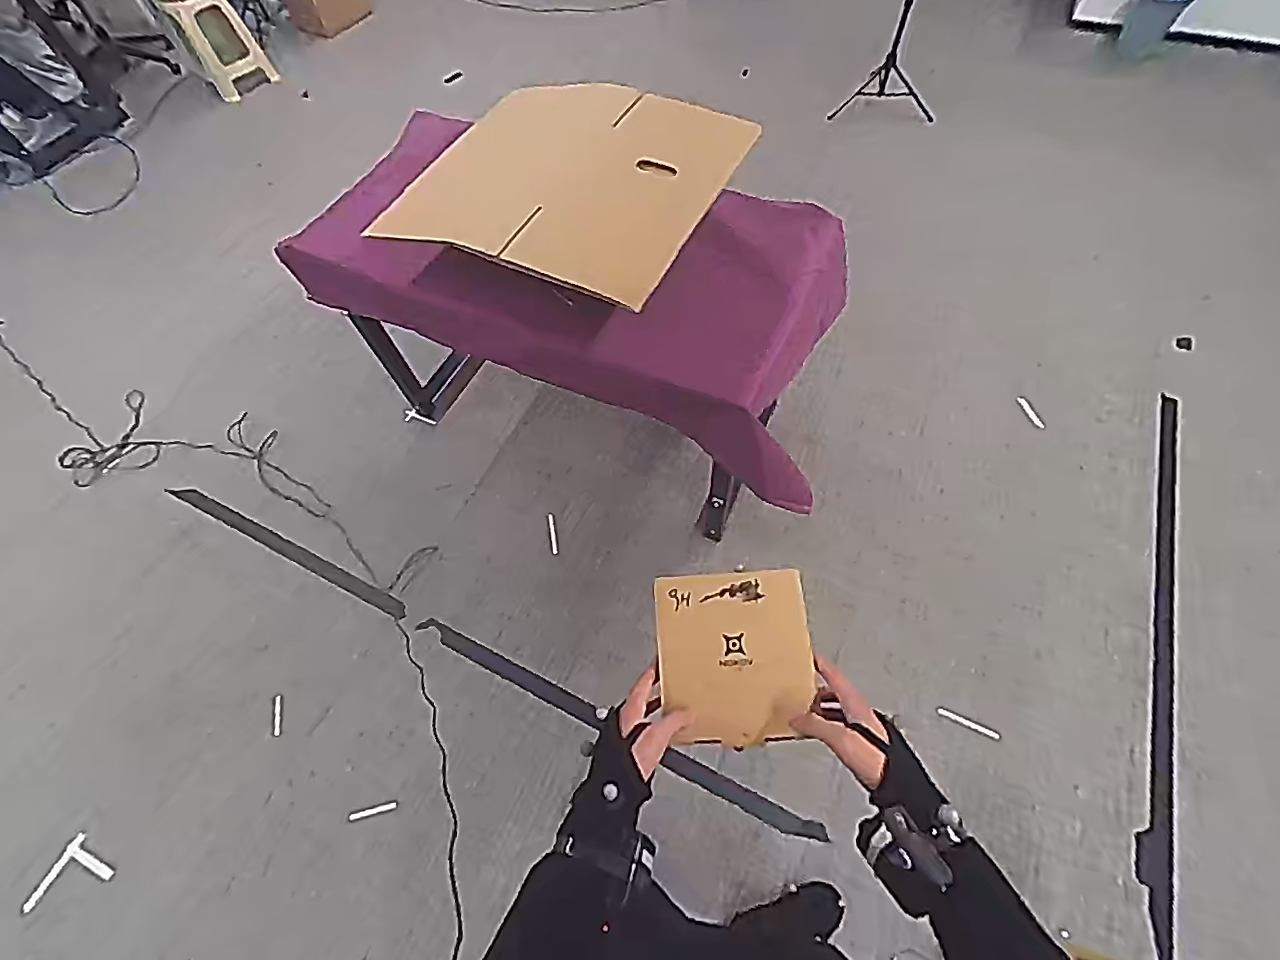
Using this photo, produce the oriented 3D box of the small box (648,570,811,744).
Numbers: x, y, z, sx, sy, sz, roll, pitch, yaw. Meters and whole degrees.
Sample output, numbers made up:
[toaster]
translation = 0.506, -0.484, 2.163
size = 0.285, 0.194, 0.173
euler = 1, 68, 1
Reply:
[small box]
translation = 0.102, 0.215, 0.663
size = 0.168, 0.176, 0.179
euler = -5, 69, 4
